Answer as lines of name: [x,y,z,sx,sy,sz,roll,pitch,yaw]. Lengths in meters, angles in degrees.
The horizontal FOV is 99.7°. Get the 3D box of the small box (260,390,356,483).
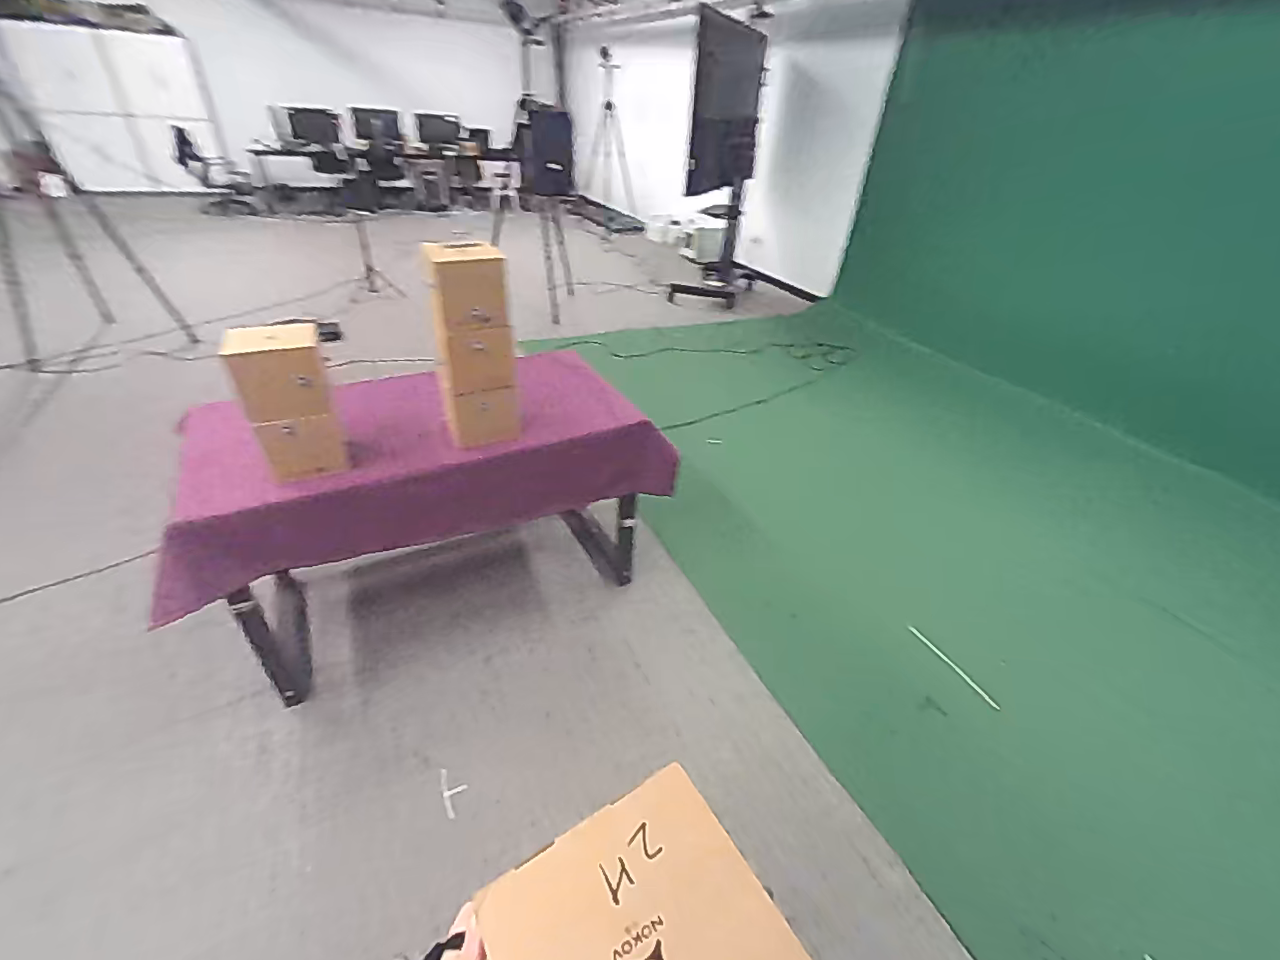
small box: [-0.825,-0.115,1.358,0.168,0.176,0.179,-14,38,-23]

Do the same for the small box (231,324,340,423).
small box: [-0.816,-0.250,1.265,0.179,0.176,0.168,-13,38,-22]

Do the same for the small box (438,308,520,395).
small box: [-0.424,-0.343,1.438,0.179,0.176,0.168,-15,40,-24]

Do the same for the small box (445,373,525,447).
small box: [-0.436,-0.209,1.530,0.179,0.176,0.168,-13,39,-24]
